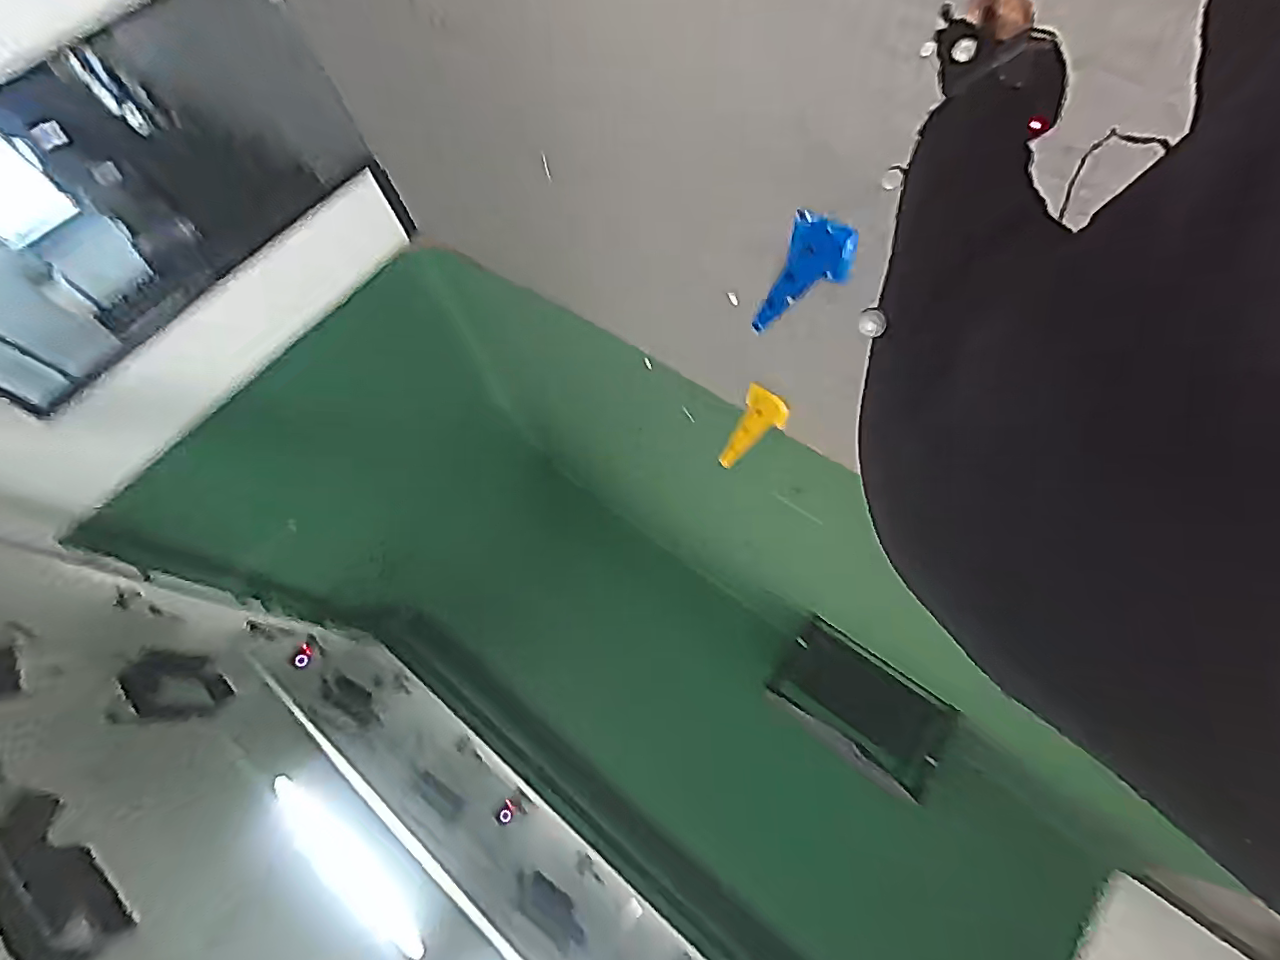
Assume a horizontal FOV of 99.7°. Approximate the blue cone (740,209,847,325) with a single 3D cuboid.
[{"bbox_3d":[0.418,-0.580,1.563,0.192,0.380,0.193,35,162,18],"label":"blue cone"}]
